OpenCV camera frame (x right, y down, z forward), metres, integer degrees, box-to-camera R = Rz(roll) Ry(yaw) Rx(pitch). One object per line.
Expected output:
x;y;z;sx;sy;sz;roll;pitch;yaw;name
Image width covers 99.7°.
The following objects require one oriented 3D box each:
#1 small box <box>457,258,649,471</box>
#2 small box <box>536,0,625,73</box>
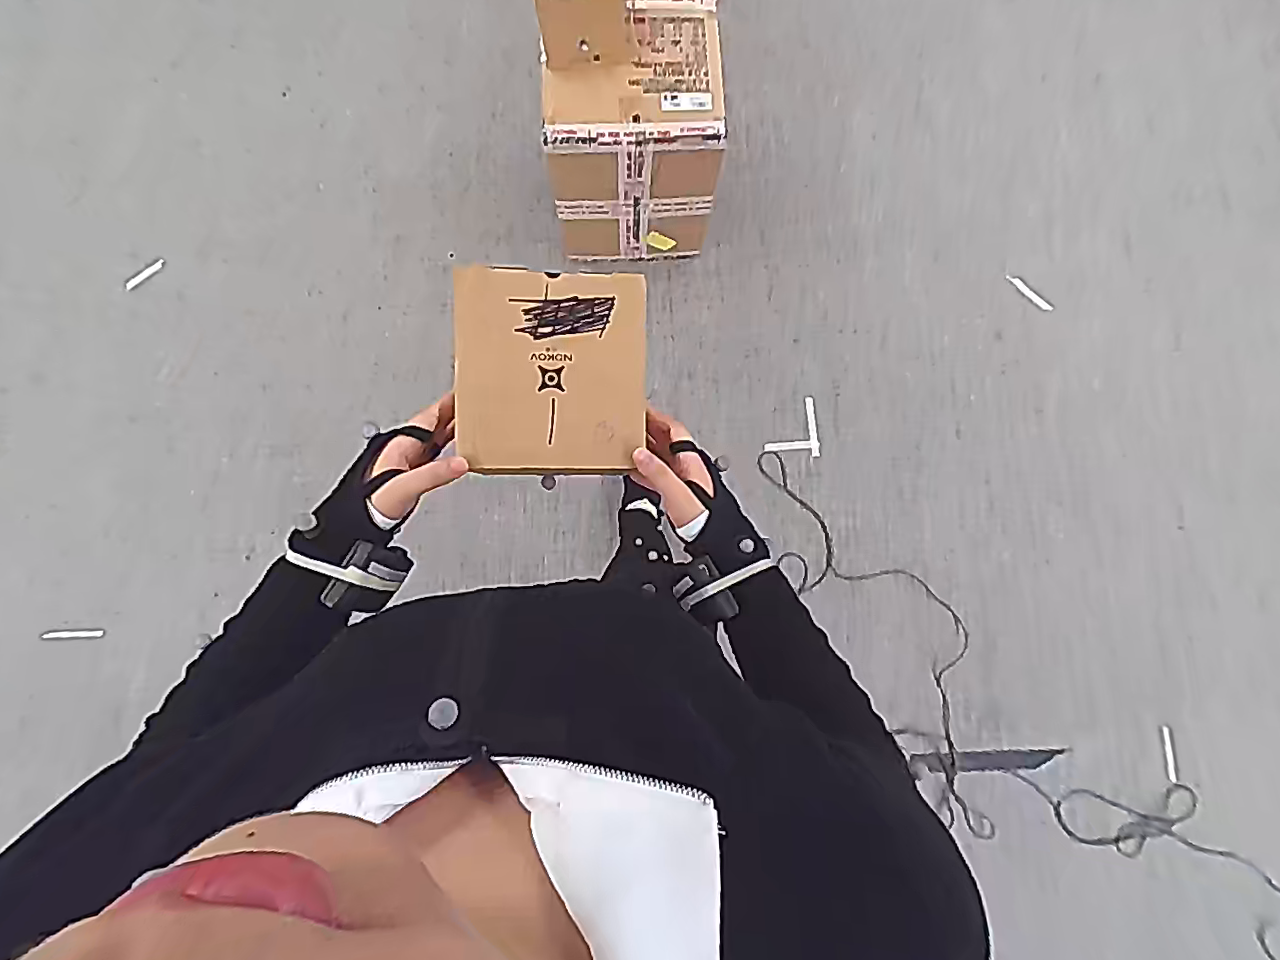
-0.085;-0.101;0.549;0.168;0.176;0.179;0;89;-8;small box
-0.119;-0.958;1.069;0.168;0.176;0.179;-6;85;0;small box
